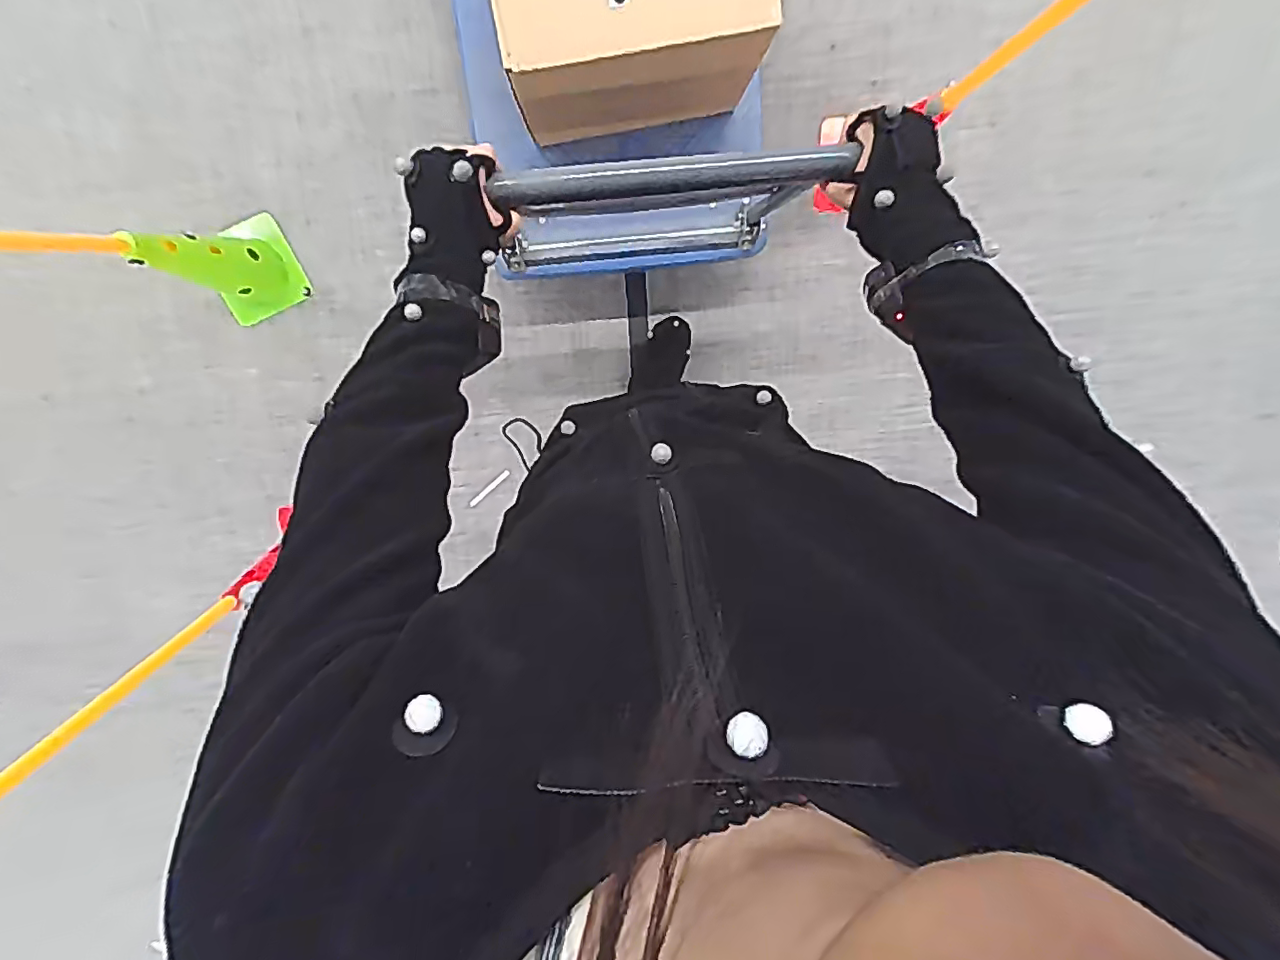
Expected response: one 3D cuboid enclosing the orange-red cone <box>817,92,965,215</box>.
[{"bbox_3d":[0.530,-0.688,1.094,0.199,0.360,0.198,1,104,-4],"label":"orange-red cone"}]
